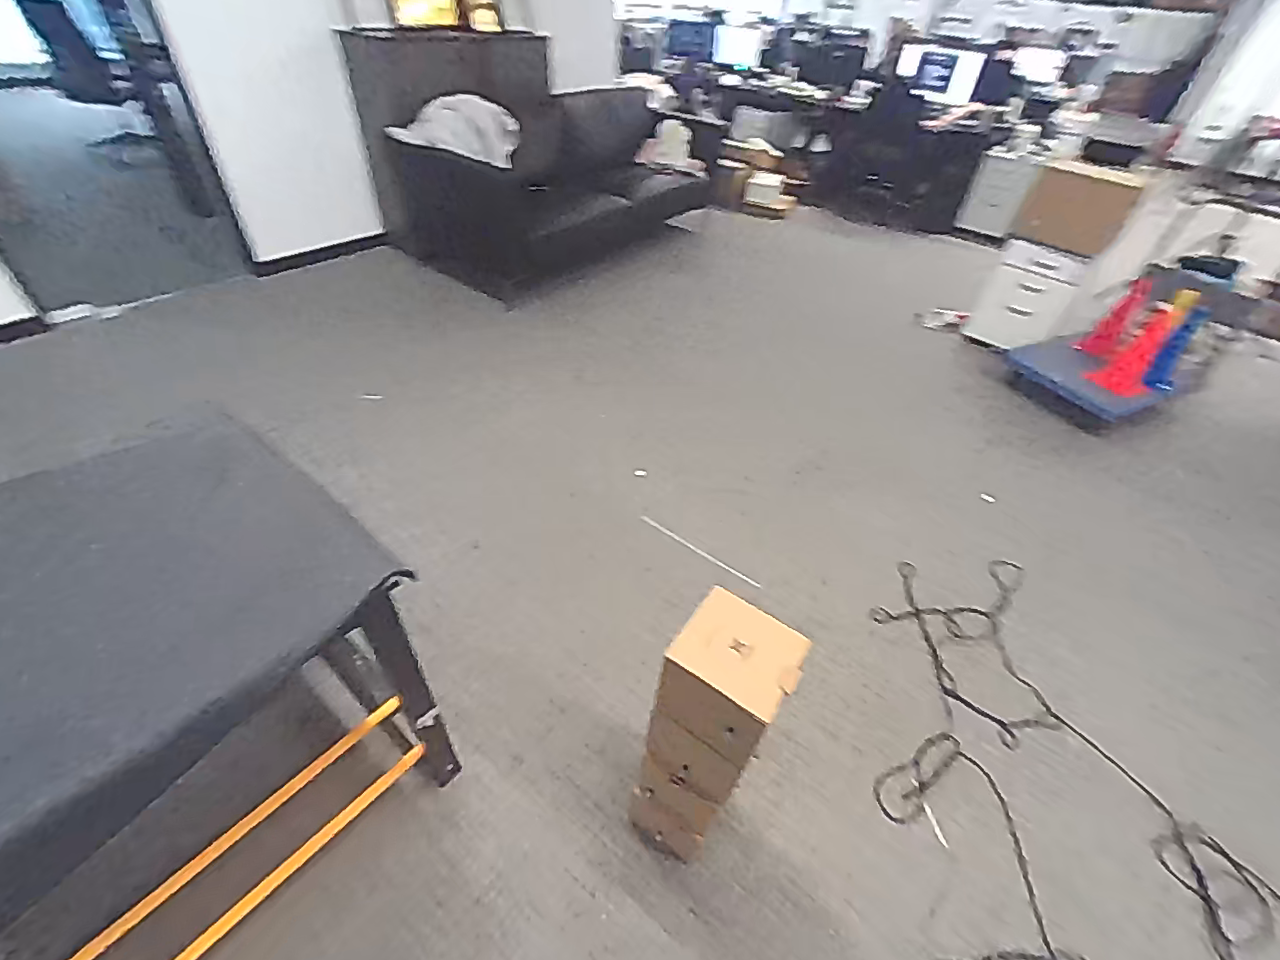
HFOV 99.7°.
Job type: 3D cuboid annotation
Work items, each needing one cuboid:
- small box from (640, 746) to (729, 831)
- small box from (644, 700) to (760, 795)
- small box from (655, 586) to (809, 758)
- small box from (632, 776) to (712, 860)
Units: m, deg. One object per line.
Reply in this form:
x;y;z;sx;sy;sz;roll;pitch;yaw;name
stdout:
0.112;0.558;1.088;0.168;0.176;0.179;27;45;22;small box
0.126;0.435;0.981;0.179;0.176;0.168;27;46;22;small box
0.141;0.314;0.873;0.179;0.176;0.168;27;45;23;small box
0.092;0.686;1.190;0.168;0.176;0.179;26;46;22;small box
